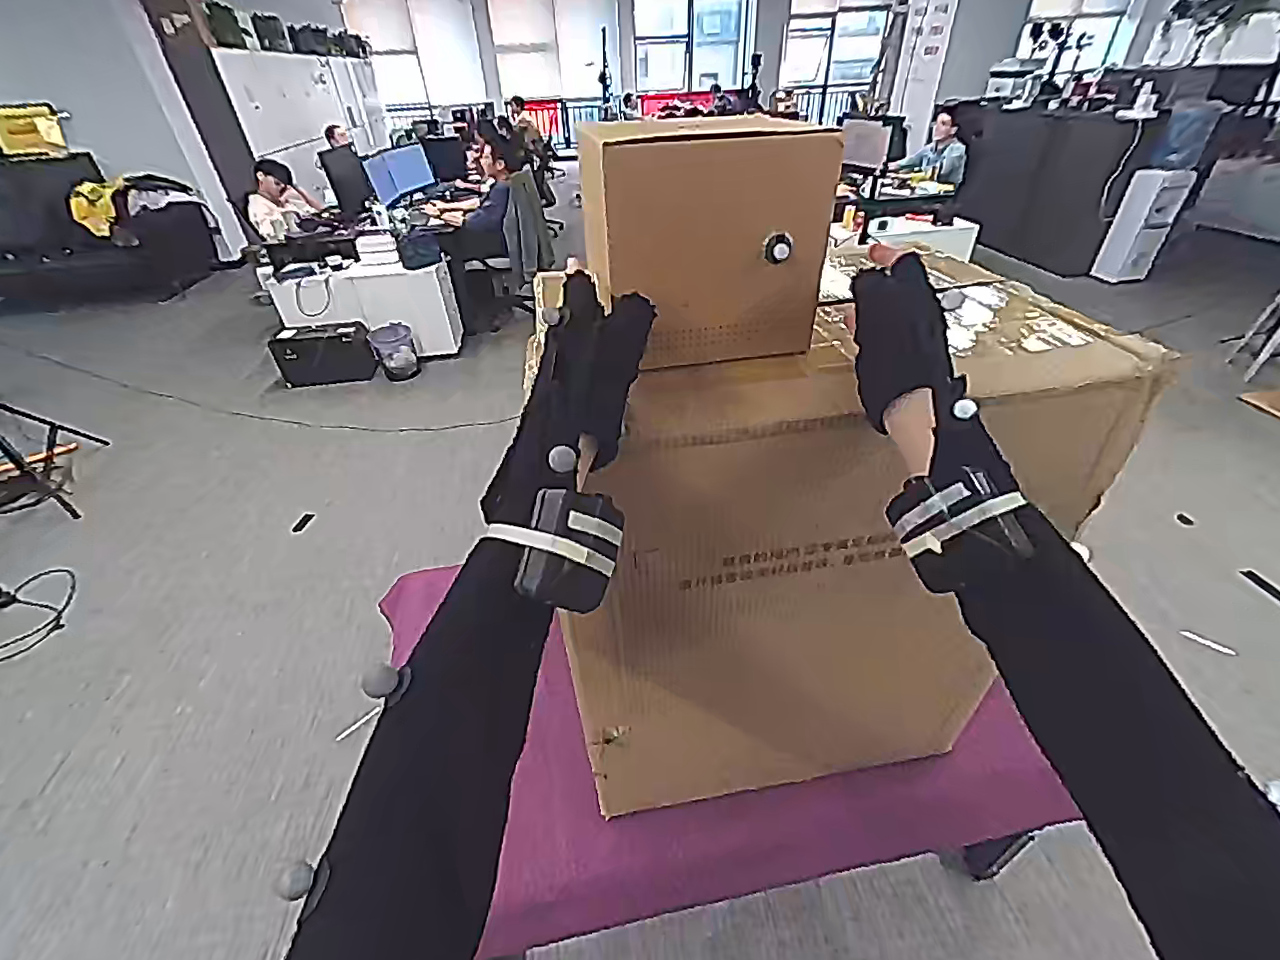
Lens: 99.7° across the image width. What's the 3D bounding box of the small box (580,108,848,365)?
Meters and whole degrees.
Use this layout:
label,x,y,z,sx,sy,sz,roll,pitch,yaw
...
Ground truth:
label,x,y,z,sx,sy,sz,roll,pitch,yaw
small box,0.049,-0.216,0.473,0.179,0.176,0.168,-9,37,-8
